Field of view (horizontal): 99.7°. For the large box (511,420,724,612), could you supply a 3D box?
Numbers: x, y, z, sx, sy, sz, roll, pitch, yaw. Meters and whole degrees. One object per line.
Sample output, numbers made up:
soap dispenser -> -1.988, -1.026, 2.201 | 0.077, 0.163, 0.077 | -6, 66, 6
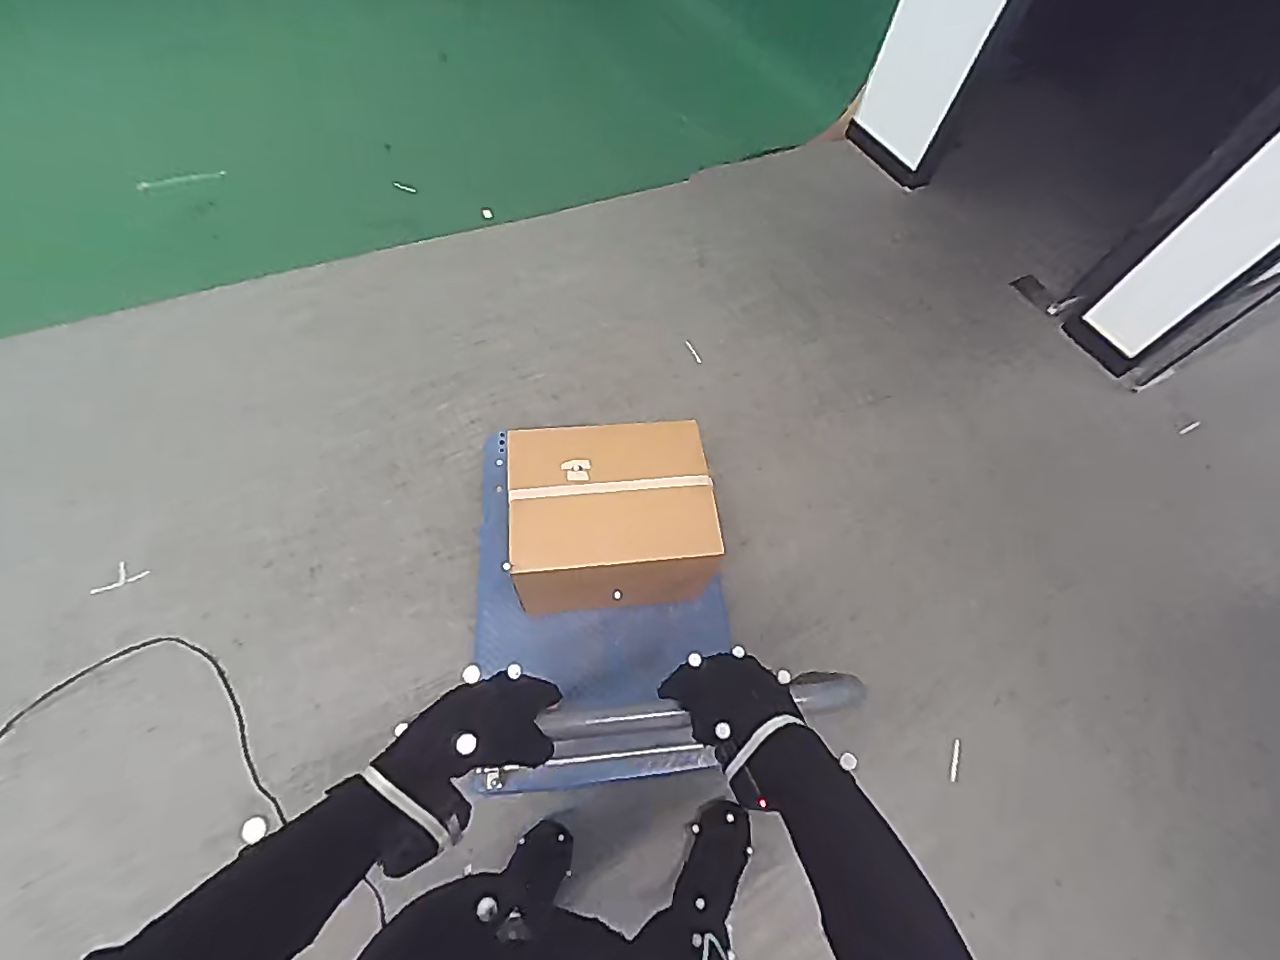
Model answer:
large box -> -0.062, 0.091, 1.215 | 0.408, 0.320, 0.320 | -5, 62, -7
